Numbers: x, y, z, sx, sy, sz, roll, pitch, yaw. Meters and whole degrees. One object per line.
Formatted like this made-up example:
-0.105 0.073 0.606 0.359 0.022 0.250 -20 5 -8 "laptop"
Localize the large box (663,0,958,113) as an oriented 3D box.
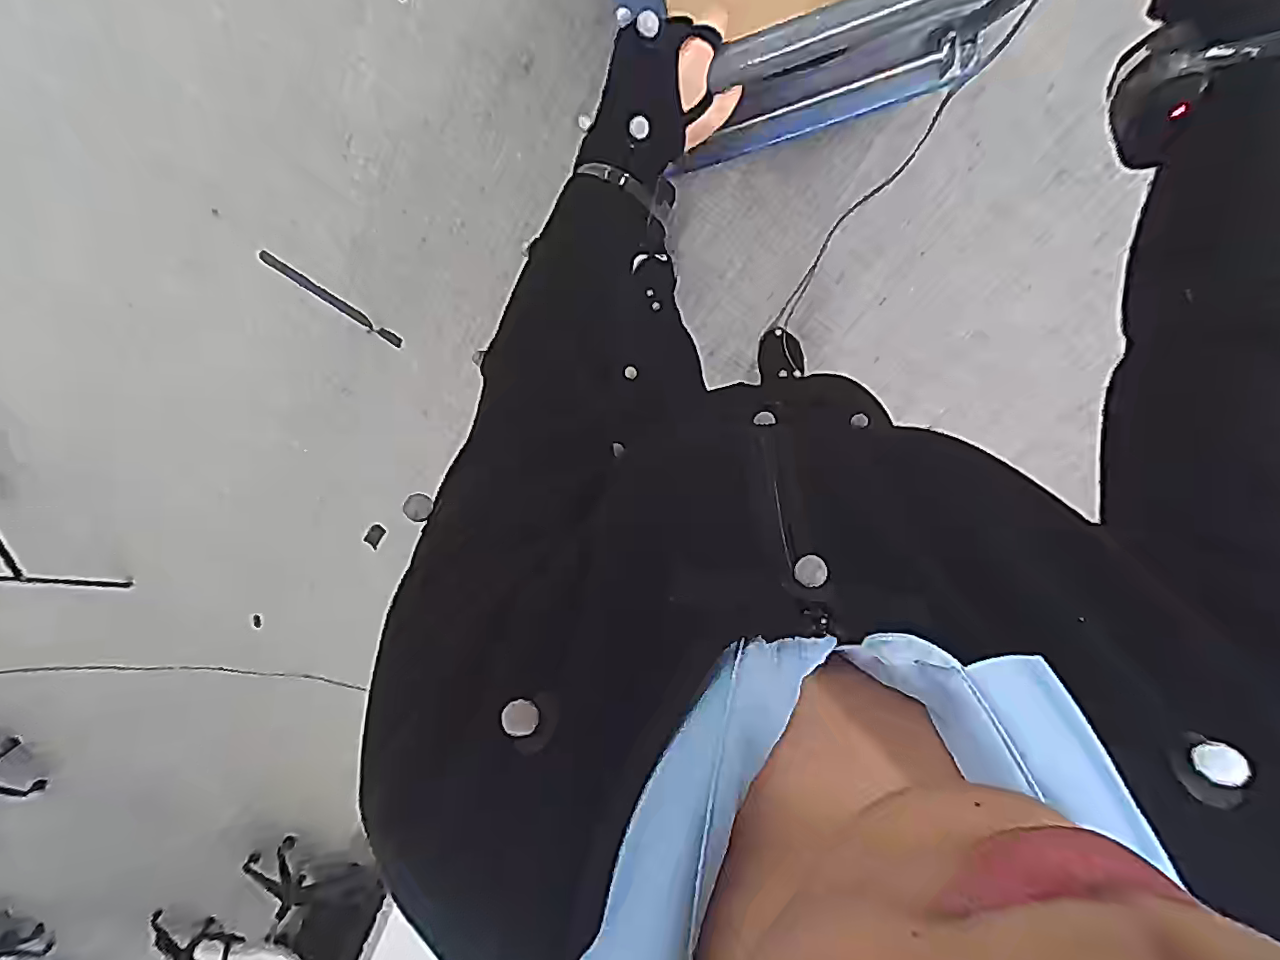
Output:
0.222 -0.774 0.758 0.408 0.320 0.320 -12 118 13 "large box"
